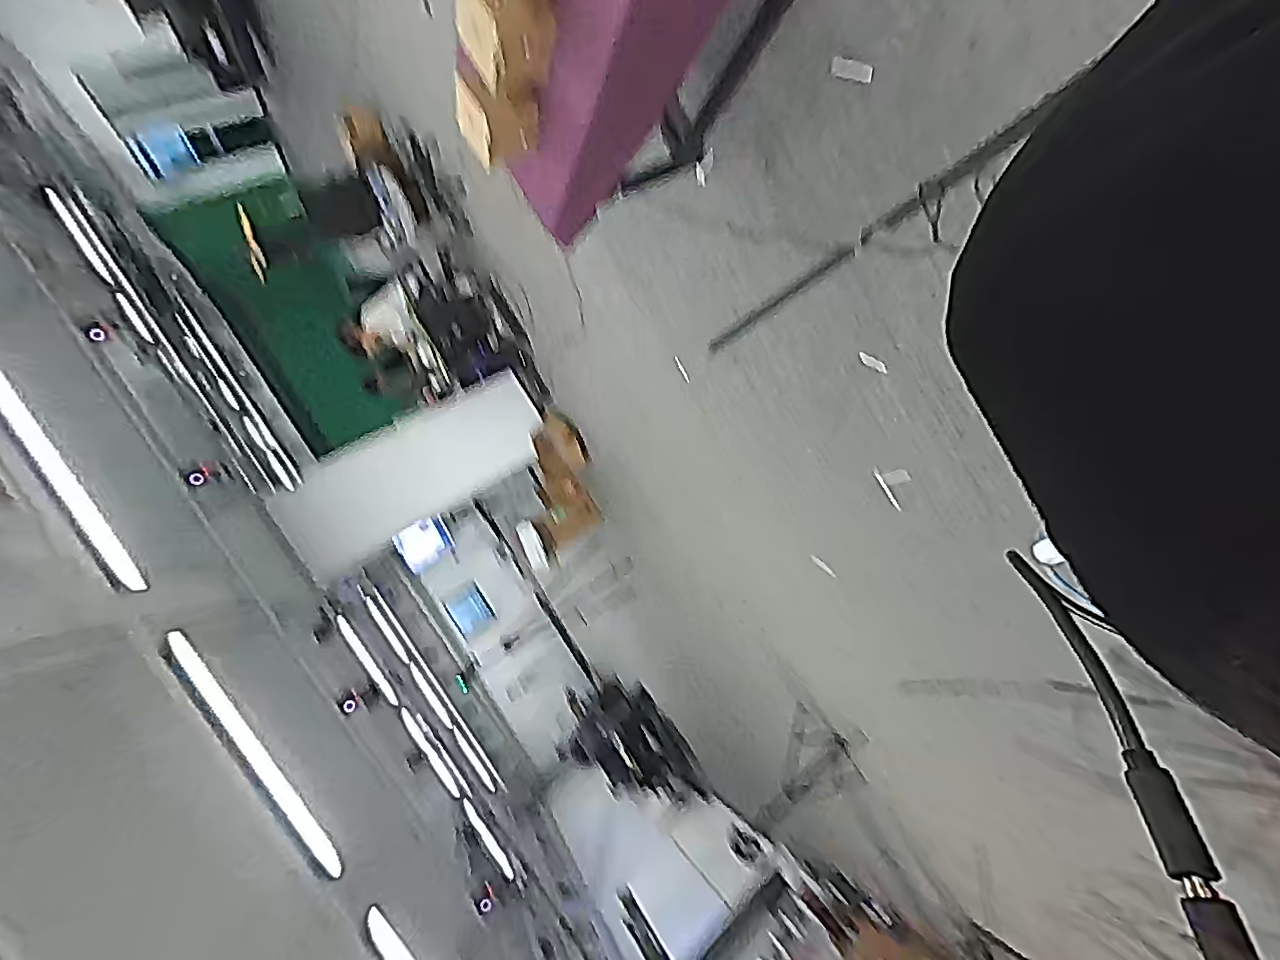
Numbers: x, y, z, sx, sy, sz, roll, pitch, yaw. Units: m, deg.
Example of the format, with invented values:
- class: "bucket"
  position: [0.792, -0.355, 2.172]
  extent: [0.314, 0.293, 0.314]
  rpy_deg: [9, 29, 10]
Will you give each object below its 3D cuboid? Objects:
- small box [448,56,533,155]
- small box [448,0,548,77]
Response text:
- class: "small box"
  position: [-0.435, -1.095, 1.571]
  extent: [0.179, 0.176, 0.168]
  rpy_deg: [55, 159, 4]
- class: "small box"
  position: [-0.346, -1.146, 1.321]
  extent: [0.179, 0.176, 0.168]
  rpy_deg: [58, 158, -2]
